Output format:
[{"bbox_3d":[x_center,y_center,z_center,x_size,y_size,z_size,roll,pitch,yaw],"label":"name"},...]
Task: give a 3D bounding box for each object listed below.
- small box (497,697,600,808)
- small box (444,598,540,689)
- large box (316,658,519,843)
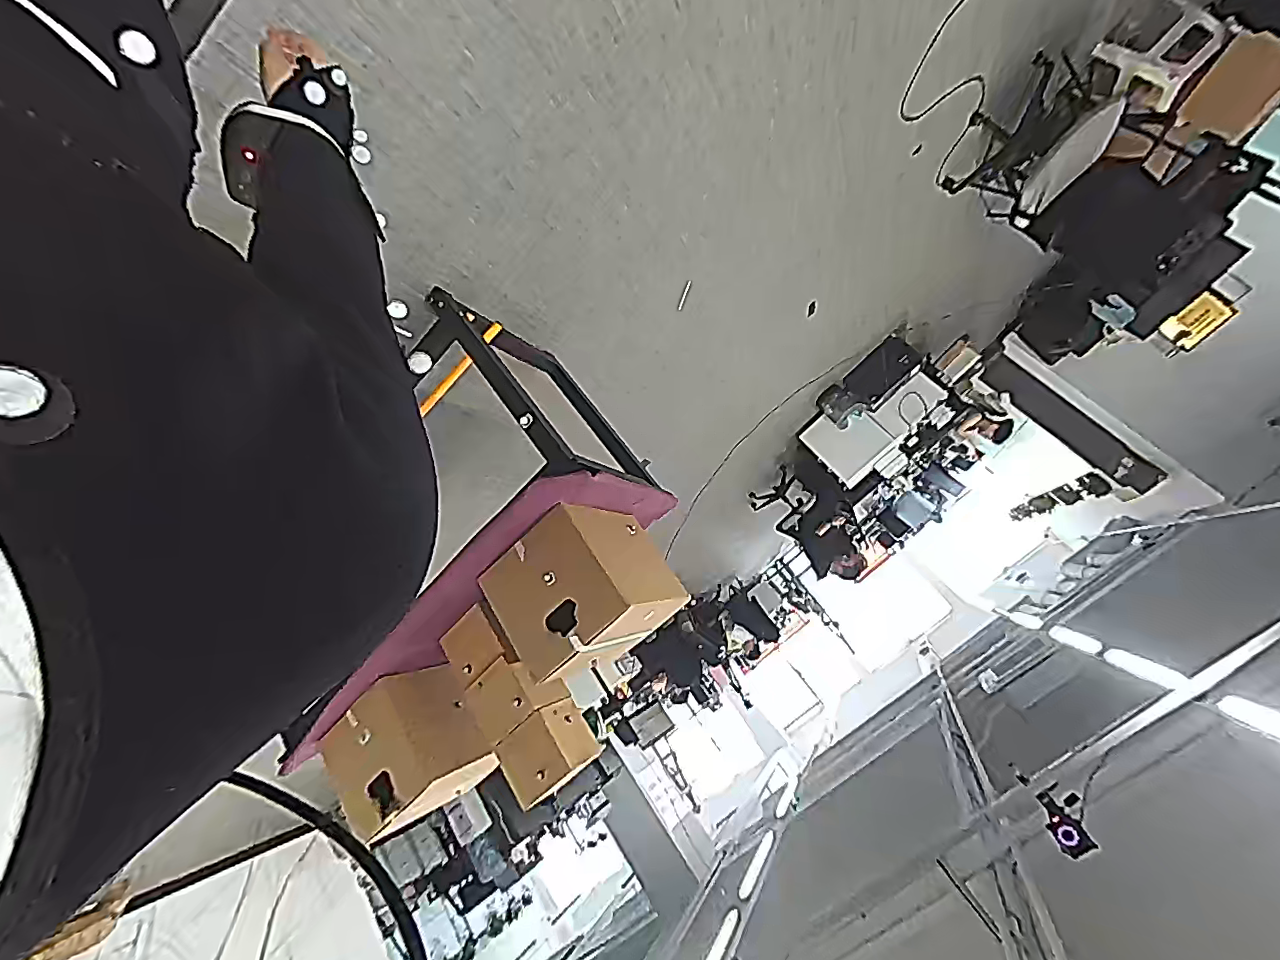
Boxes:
[{"bbox_3d":[-0.242,0.693,1.394,0.179,0.176,0.168,-44,157,11],"label":"small box"},{"bbox_3d":[-0.424,0.455,1.525,0.179,0.176,0.168,-44,157,13],"label":"small box"},{"bbox_3d":[-0.635,0.753,1.592,0.320,0.320,0.408,-44,158,13],"label":"large box"}]
